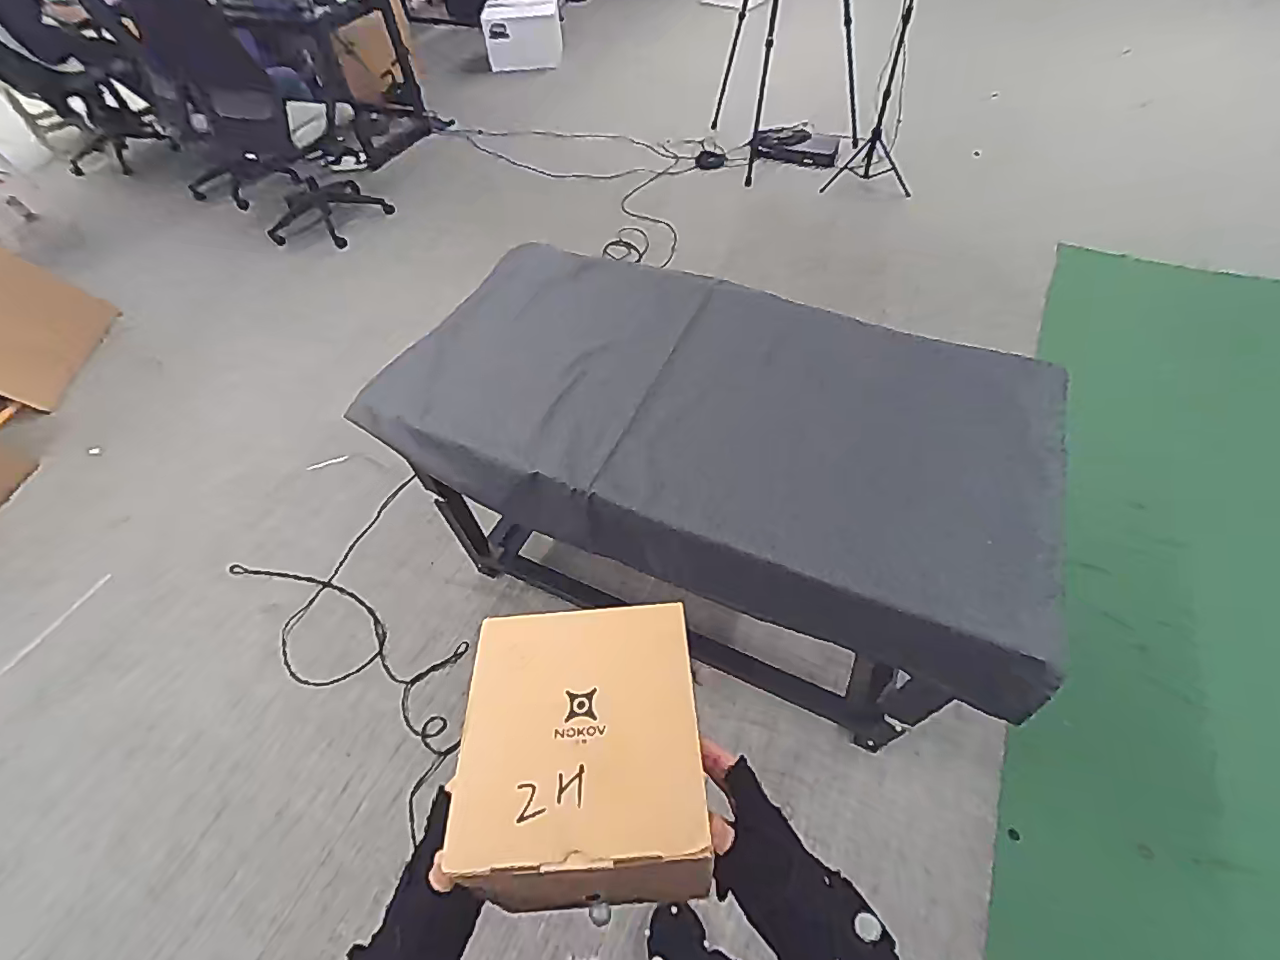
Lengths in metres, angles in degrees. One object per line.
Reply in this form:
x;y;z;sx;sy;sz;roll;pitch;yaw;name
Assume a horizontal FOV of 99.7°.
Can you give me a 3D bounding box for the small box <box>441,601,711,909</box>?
-0.036;0.221;0.436;0.168;0.176;0.179;-5;45;2;small box
